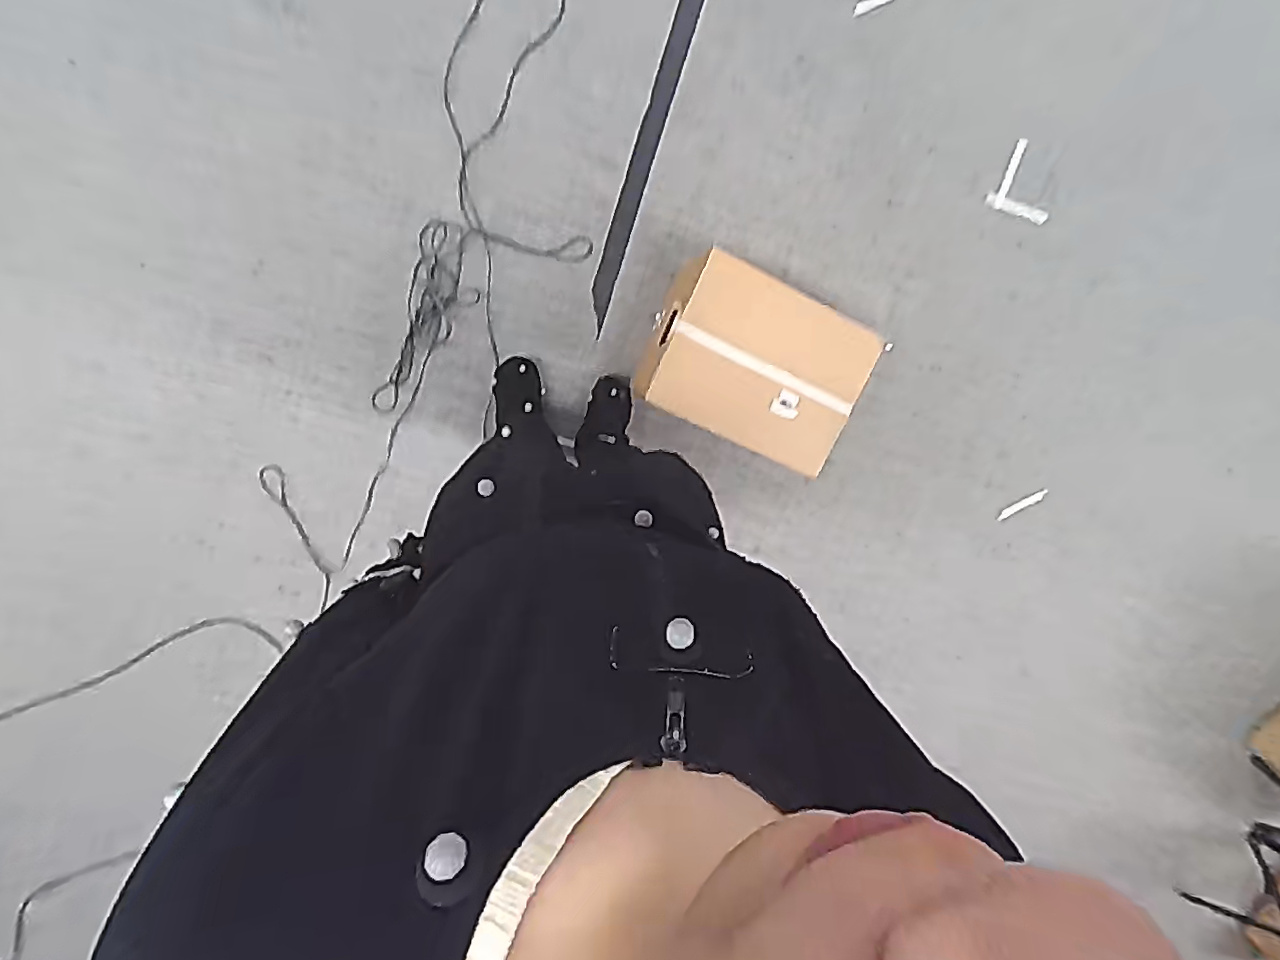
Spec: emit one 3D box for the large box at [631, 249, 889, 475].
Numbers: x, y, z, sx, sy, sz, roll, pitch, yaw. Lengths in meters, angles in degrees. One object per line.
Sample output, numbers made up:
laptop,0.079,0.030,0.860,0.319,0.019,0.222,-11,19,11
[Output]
large box,0.232,-0.249,1.191,0.408,0.320,0.320,23,100,-13
